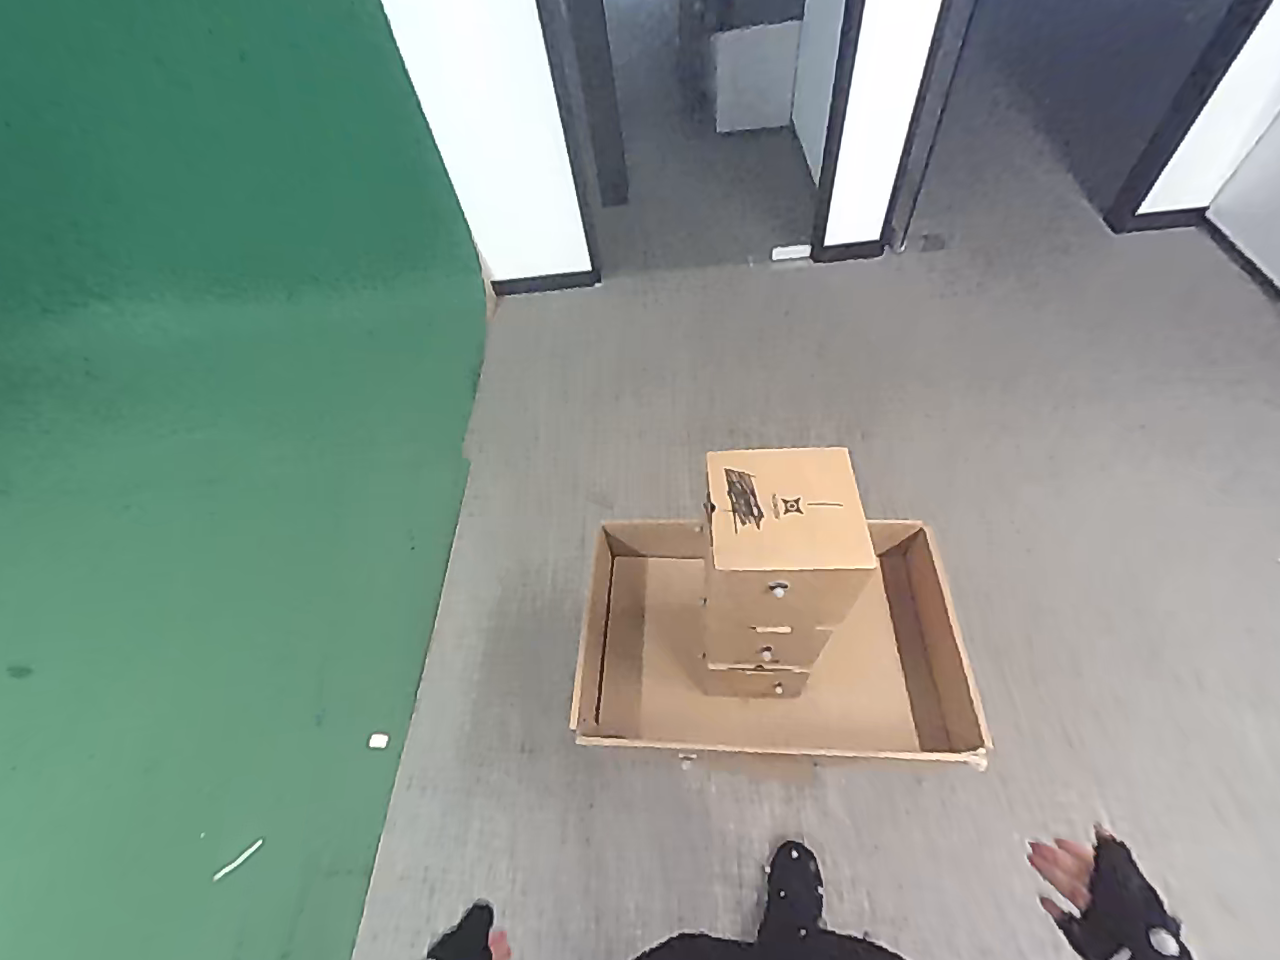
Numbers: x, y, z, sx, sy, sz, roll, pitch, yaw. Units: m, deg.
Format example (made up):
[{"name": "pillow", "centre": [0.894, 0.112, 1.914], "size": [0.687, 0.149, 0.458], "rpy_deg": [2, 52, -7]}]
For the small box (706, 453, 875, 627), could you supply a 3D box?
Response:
[{"name": "small box", "centre": [0.174, 0.081, 0.691], "size": [0.179, 0.176, 0.168], "rpy_deg": [-1, 55, 4]}]

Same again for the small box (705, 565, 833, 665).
[{"name": "small box", "centre": [0.186, 0.175, 0.828], "size": [0.168, 0.176, 0.179], "rpy_deg": [0, 55, 5]}]

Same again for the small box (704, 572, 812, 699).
[{"name": "small box", "centre": [0.198, 0.277, 0.955], "size": [0.168, 0.176, 0.179], "rpy_deg": [-1, 53, 5]}]
